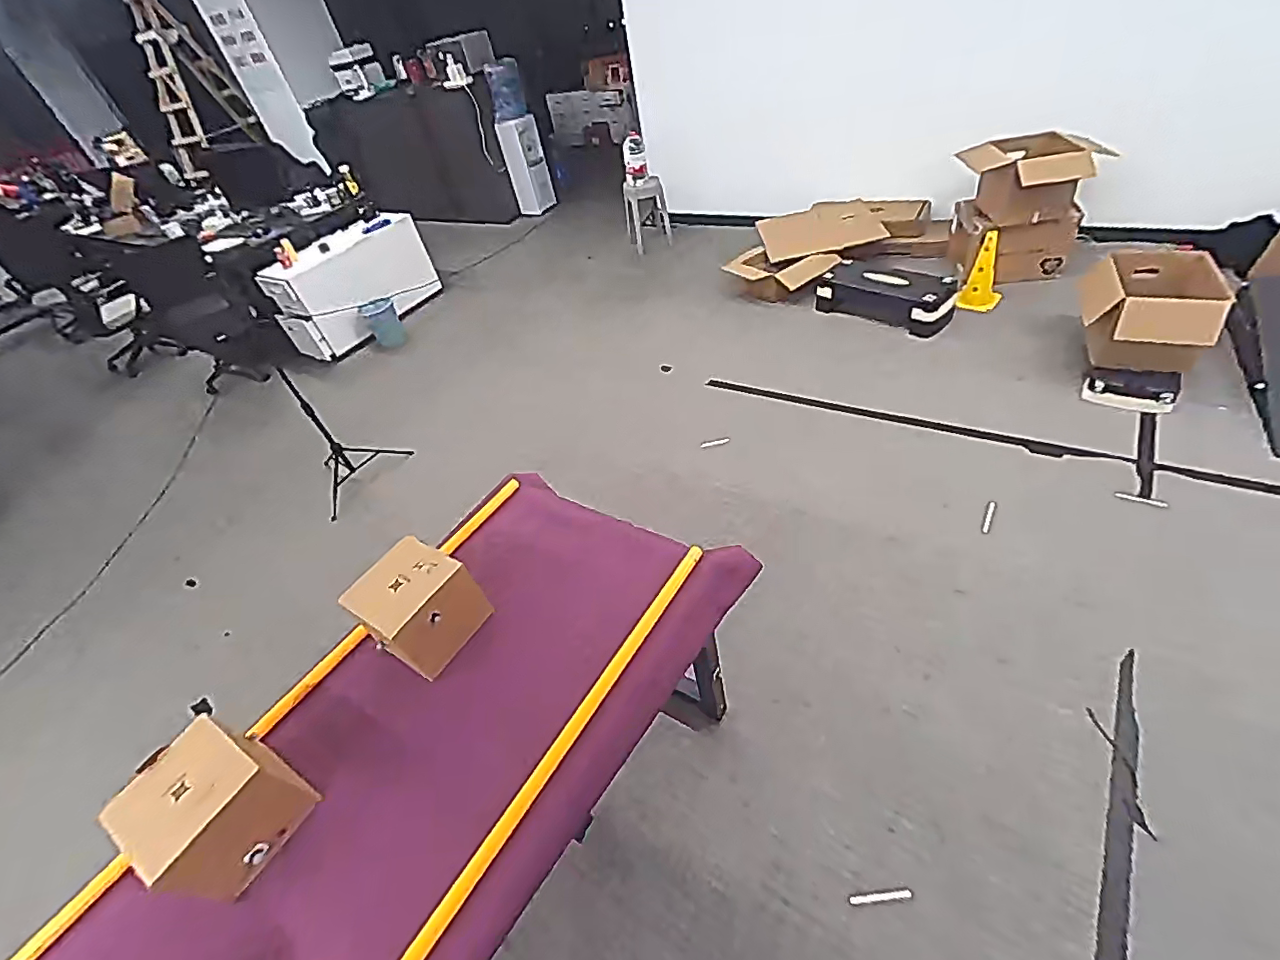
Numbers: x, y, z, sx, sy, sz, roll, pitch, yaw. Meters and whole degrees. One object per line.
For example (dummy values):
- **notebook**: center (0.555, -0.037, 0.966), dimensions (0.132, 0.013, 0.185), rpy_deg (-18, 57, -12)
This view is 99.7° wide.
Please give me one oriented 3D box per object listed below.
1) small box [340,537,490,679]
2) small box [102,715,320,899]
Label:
- **small box**: center (-0.422, 0.249, 1.044), dimensions (0.168, 0.176, 0.179), rpy_deg (20, 53, 29)
- **small box**: center (-0.650, 0.507, 0.836), dimensions (0.179, 0.176, 0.168), rpy_deg (17, 52, 28)
